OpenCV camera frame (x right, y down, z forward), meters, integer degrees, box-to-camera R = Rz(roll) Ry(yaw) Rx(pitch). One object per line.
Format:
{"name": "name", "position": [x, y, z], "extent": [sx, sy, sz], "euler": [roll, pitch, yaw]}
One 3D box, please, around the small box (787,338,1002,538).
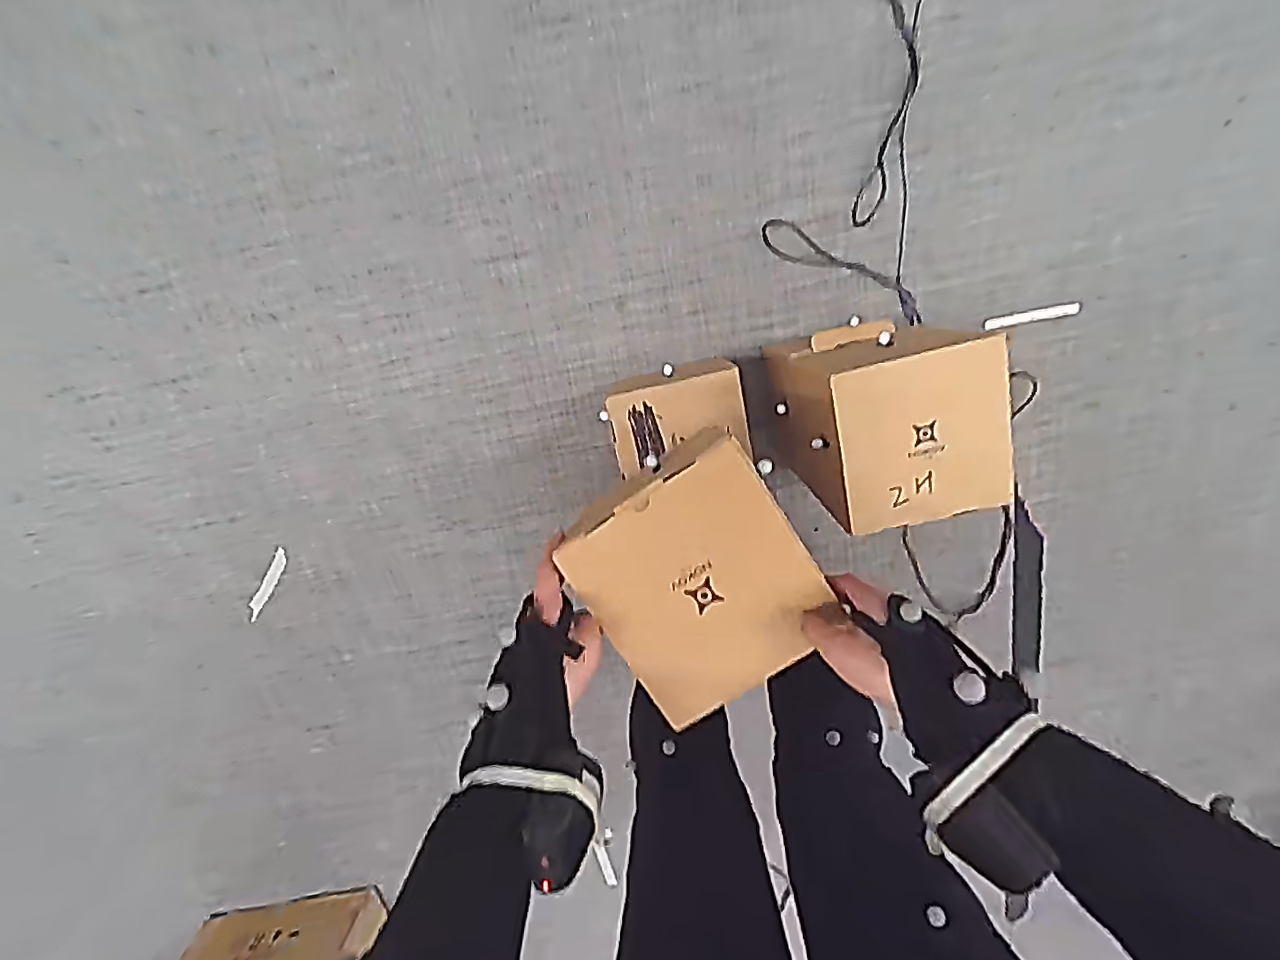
{"name": "small box", "position": [0.274, -0.059, 0.613], "extent": [0.168, 0.176, 0.179], "euler": [-12, 107, 6]}

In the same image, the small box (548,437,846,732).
{"name": "small box", "position": [0.048, 0.075, 0.488], "extent": [0.168, 0.176, 0.179], "euler": [-35, 94, 7]}

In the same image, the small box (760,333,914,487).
{"name": "small box", "position": [0.275, -0.108, 0.770], "extent": [0.168, 0.176, 0.179], "euler": [-11, 108, 4]}
